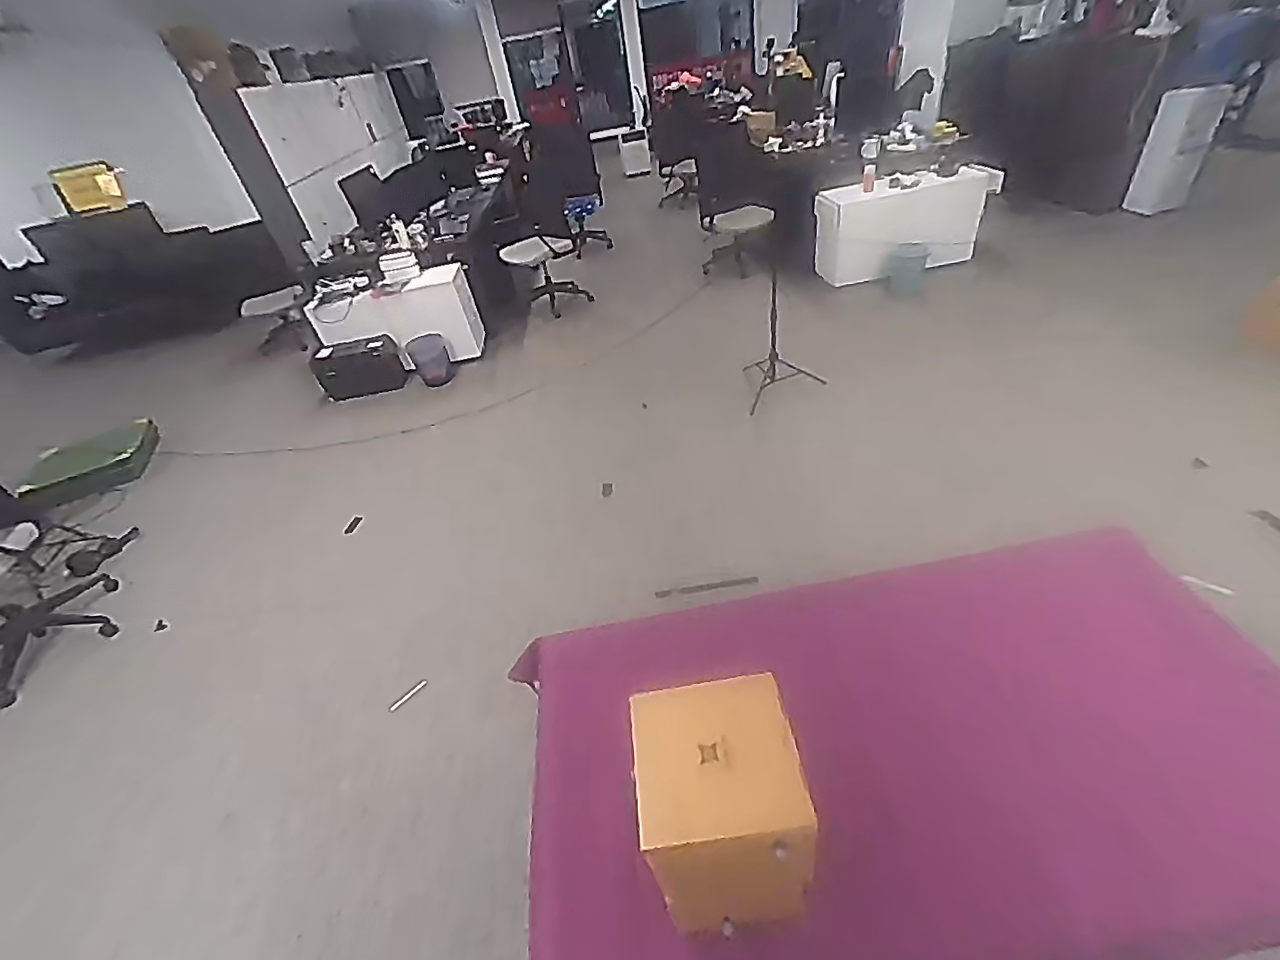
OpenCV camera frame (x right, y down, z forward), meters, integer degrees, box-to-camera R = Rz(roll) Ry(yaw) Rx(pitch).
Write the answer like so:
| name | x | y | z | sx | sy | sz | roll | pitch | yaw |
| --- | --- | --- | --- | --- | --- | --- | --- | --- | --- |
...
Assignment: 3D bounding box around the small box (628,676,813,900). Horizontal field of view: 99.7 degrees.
| name | x | y | z | sx | sy | sz | roll | pitch | yaw |
| --- | --- | --- | --- | --- | --- | --- | --- | --- | --- |
| small box | 0.090 | 0.357 | 0.625 | 0.179 | 0.176 | 0.168 | -11 | 39 | 3 |
